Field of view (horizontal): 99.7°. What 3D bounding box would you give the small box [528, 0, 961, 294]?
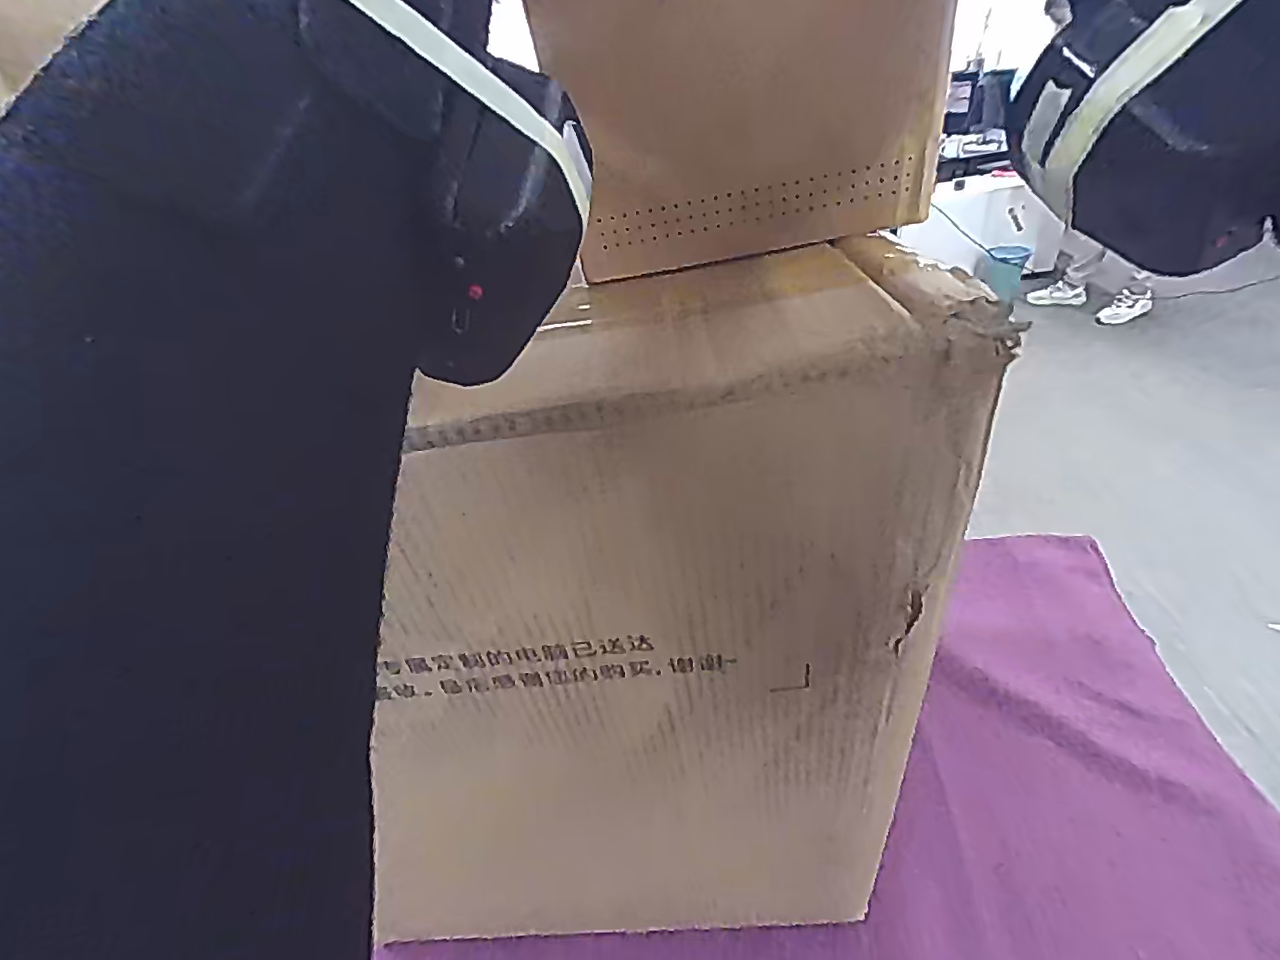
[{"bbox_3d":[0.050,-0.220,0.291,0.179,0.176,0.168,-8,38,8],"label":"small box"}]
